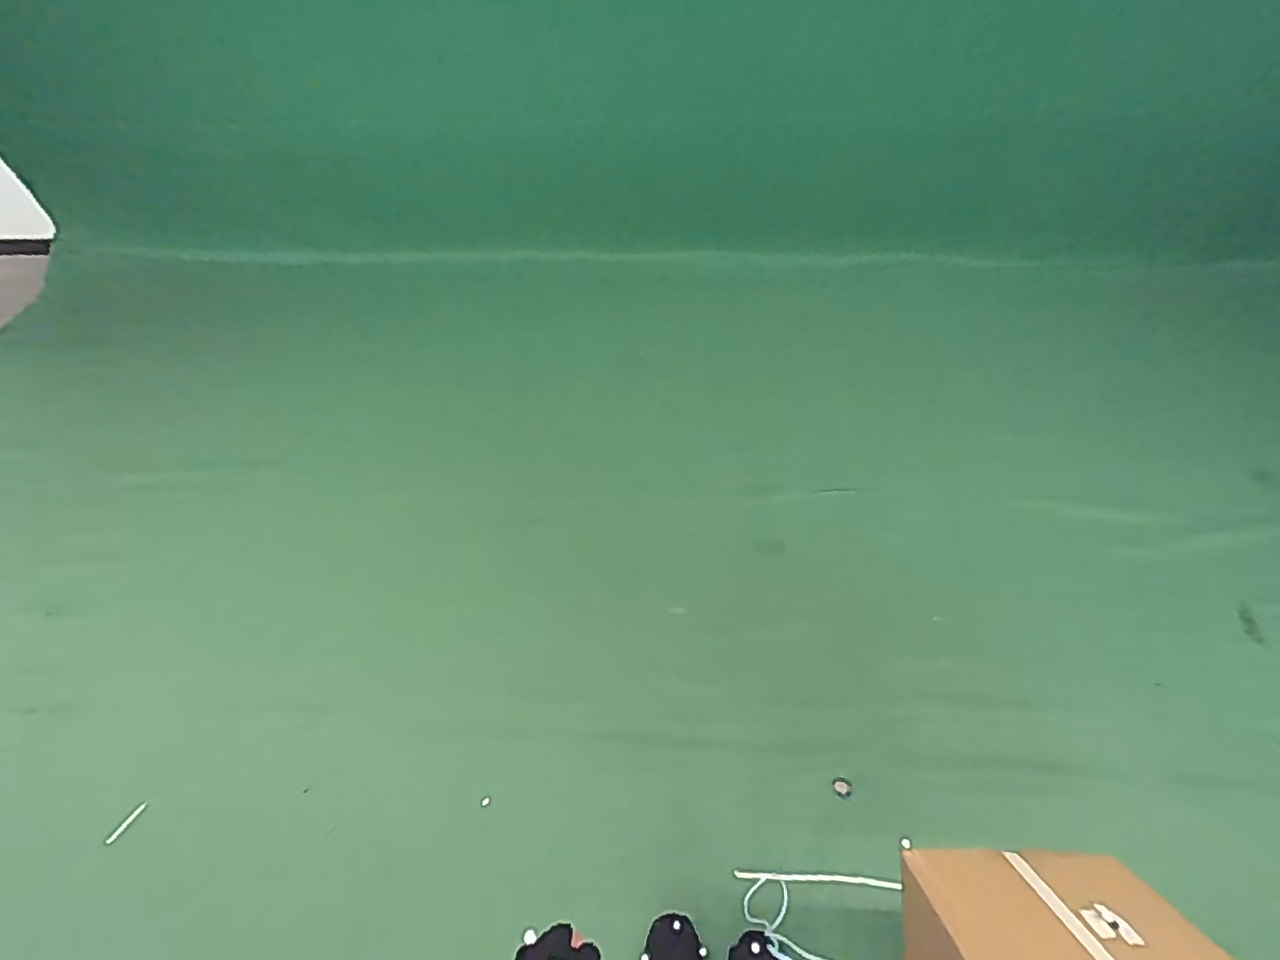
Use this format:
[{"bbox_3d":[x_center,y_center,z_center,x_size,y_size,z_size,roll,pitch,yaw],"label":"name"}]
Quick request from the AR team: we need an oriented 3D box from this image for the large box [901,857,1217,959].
[{"bbox_3d":[0.544,0.729,0.621,0.320,0.408,0.320,0,89,4],"label":"large box"}]
